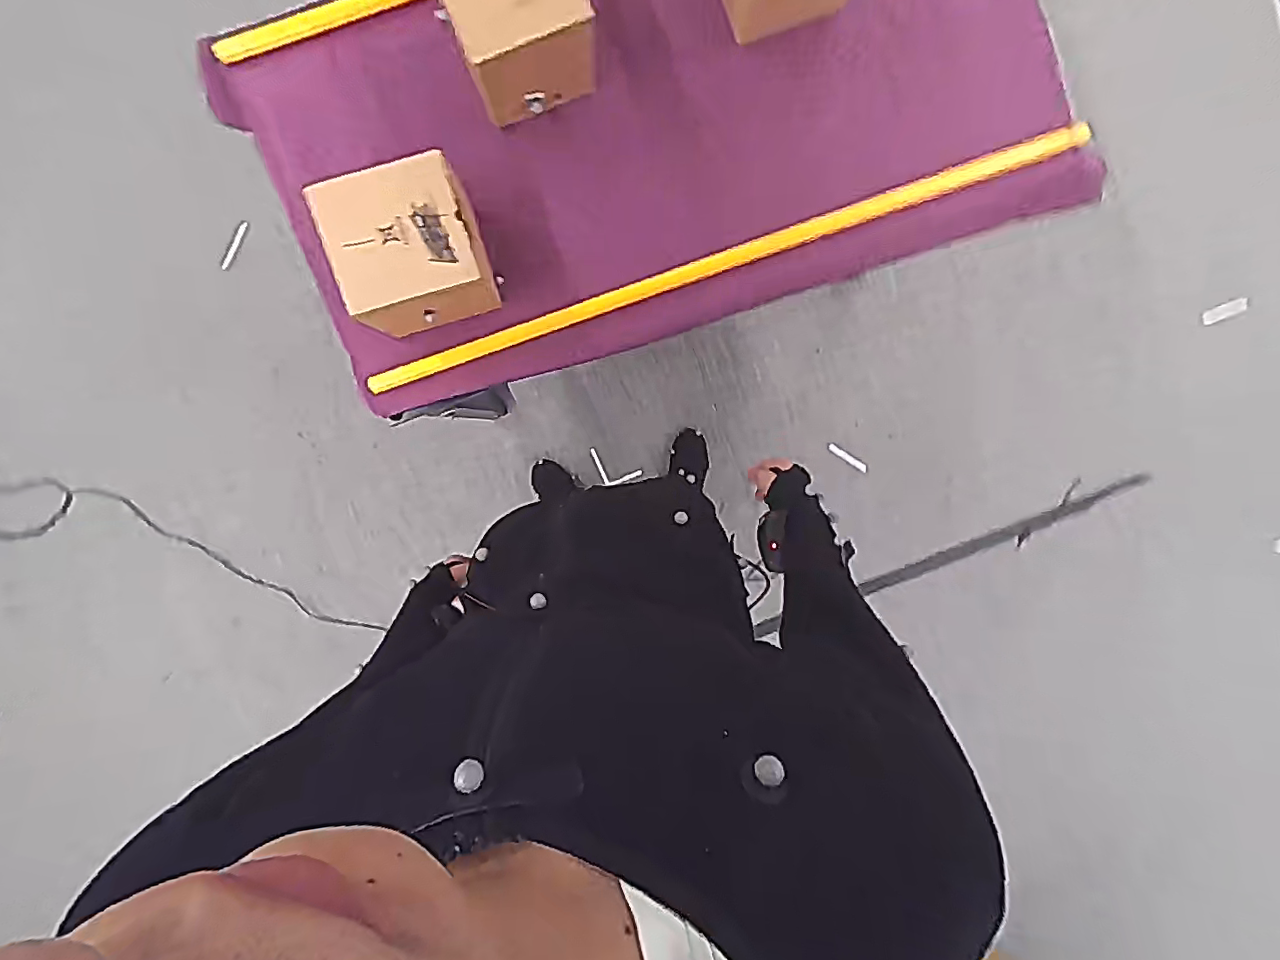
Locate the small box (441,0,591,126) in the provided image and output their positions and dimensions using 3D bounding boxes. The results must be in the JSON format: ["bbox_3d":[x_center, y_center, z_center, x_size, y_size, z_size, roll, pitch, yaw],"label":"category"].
[{"bbox_3d":[-0.174,-0.636,0.736,0.168,0.176,0.179,-24,98,0],"label":"small box"}]

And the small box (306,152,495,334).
[{"bbox_3d":[-0.314,-0.317,0.757,0.179,0.176,0.168,-18,97,-2],"label":"small box"}]

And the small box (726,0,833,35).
[{"bbox_3d":[0.204,-0.771,0.745,0.179,0.176,0.168,-21,98,-1],"label":"small box"}]
